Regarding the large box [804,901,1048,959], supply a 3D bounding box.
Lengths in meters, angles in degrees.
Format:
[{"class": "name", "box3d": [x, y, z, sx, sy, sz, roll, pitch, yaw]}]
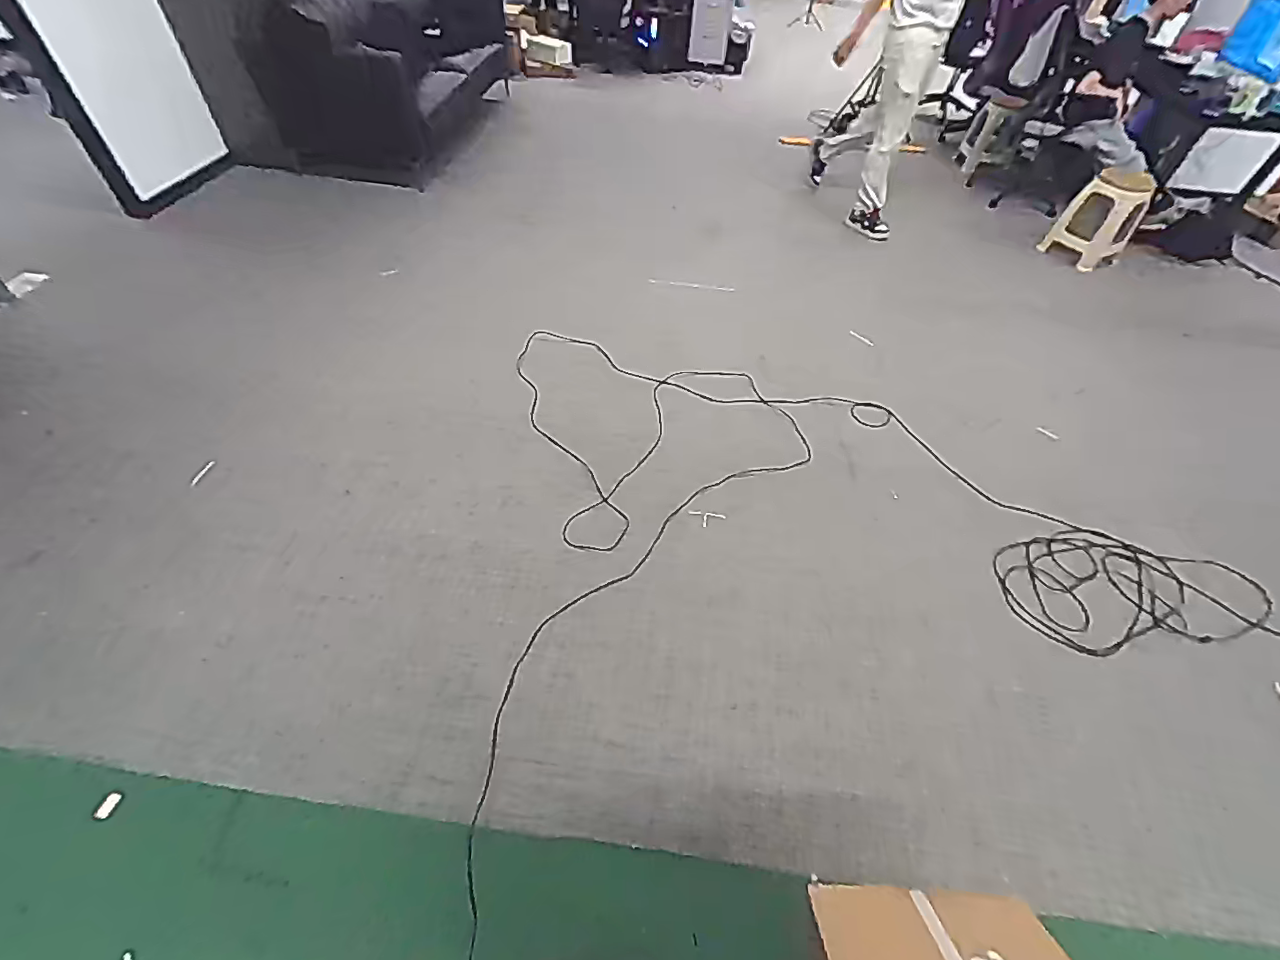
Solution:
[{"class": "large box", "box3d": [0.388, 0.790, 0.612, 0.320, 0.408, 0.320, 2, 89, 4]}]
